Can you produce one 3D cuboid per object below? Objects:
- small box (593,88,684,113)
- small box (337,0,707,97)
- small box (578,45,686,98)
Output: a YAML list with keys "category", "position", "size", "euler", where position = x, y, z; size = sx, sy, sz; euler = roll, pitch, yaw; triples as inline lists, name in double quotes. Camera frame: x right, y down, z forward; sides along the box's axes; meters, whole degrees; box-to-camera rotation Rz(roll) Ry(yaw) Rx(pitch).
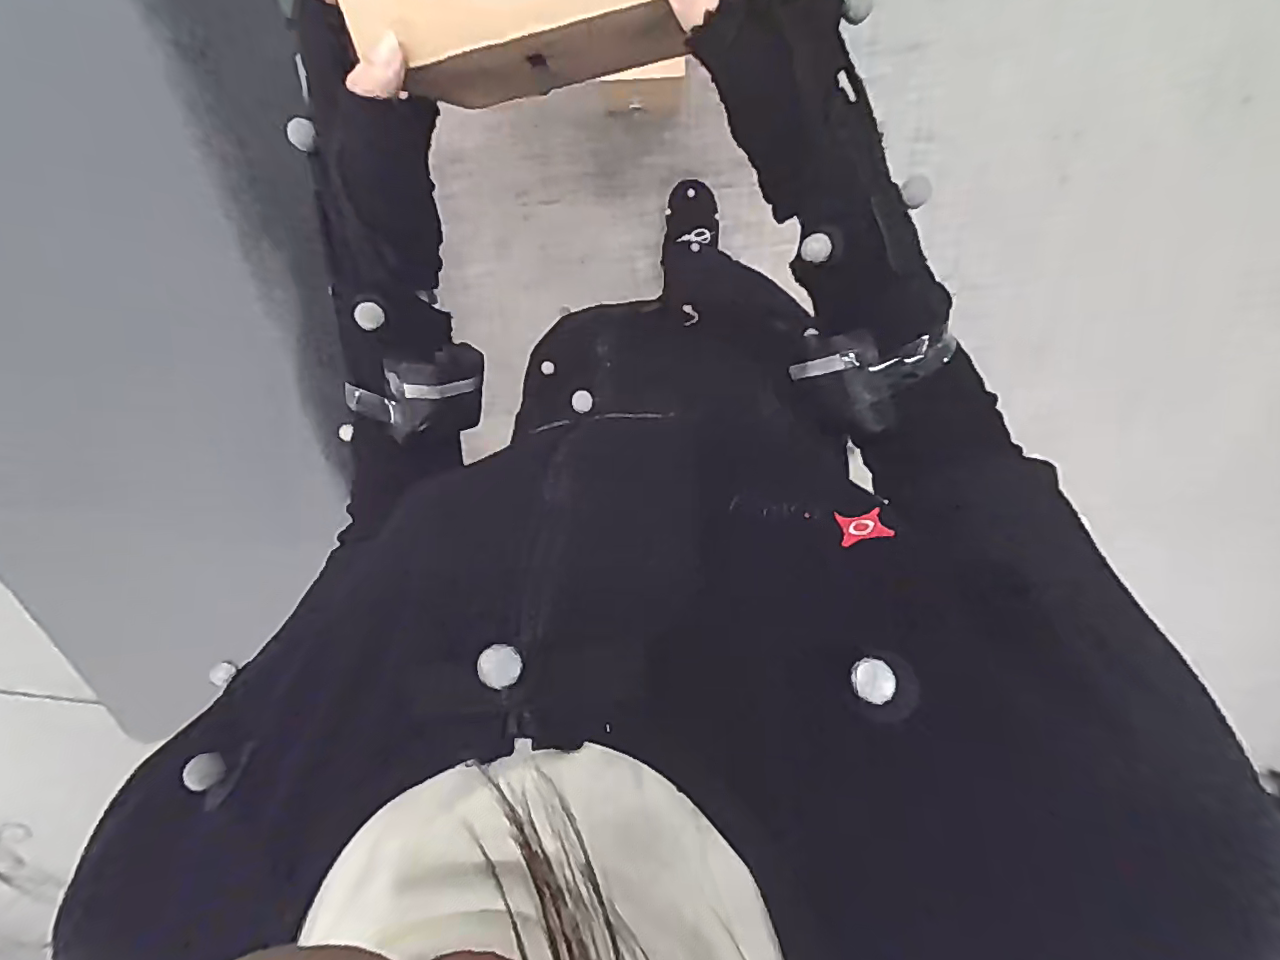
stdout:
- category: "small box"
  position: [-0.001, -0.799, 1.003]
  size: [0.168, 0.176, 0.179]
  euler: [0, 120, 5]
- category: "small box"
  position: [-0.057, -0.317, 0.275]
  size: [0.179, 0.176, 0.168]
  euler: [-8, 119, 7]
- category: "small box"
  position: [-0.010, -0.724, 0.856]
  size: [0.168, 0.176, 0.179]
  euler: [1, 119, 4]
